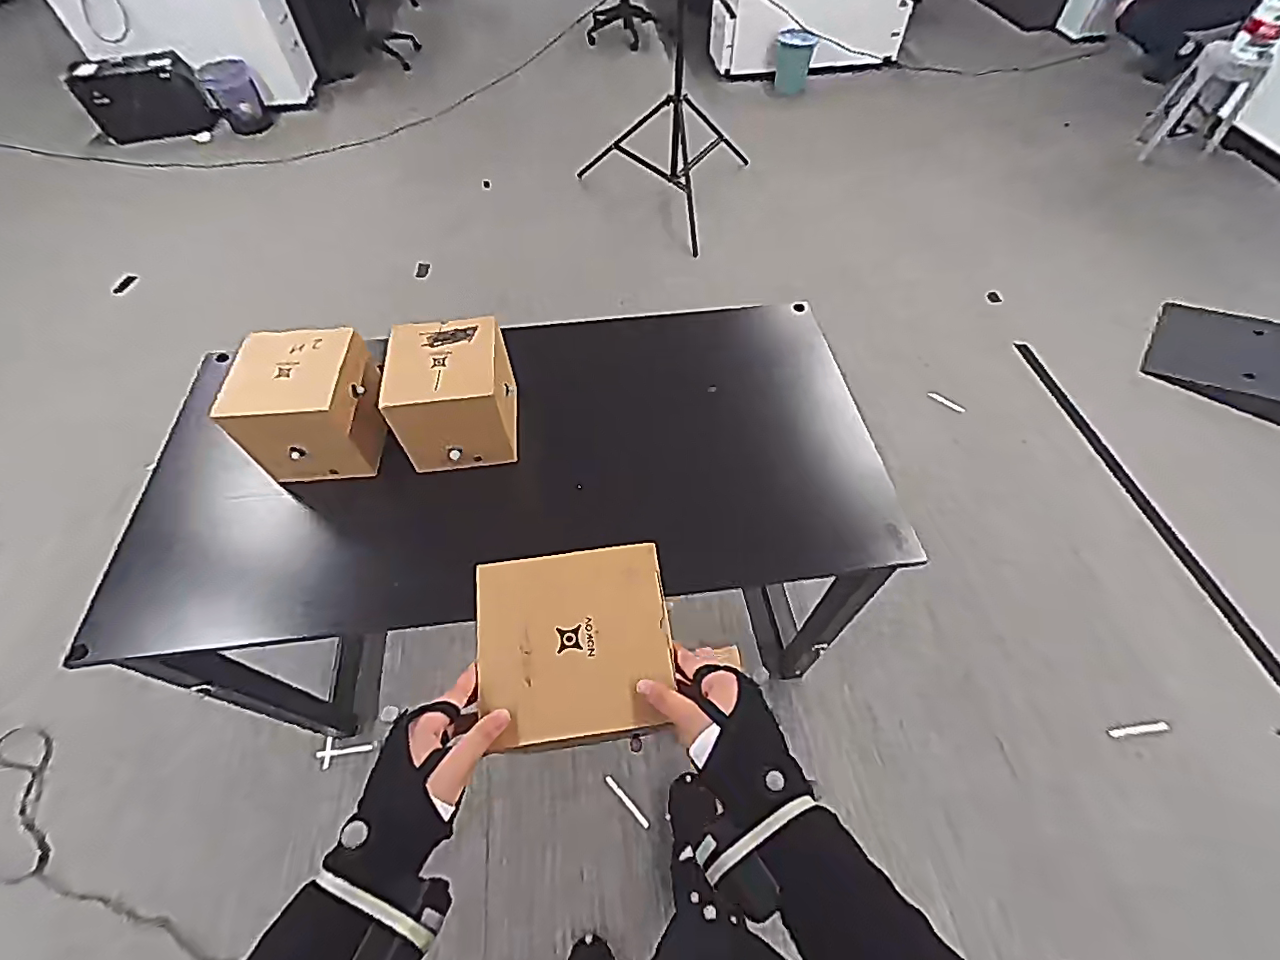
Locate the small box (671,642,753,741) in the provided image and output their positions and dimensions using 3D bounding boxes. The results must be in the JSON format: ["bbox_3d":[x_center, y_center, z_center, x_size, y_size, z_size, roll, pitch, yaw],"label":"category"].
[{"bbox_3d":[0.163,0.516,1.313,0.168,0.176,0.179,-8,56,-3],"label":"small box"}]

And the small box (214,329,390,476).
[{"bbox_3d":[-0.524,-0.117,0.873,0.168,0.176,0.179,-4,56,-3],"label":"small box"}]

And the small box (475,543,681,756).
[{"bbox_3d":[-0.061,0.181,0.560,0.179,0.176,0.168,-9,61,-3],"label":"small box"}]

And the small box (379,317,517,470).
[{"bbox_3d":[-0.301,-0.138,0.884,0.168,0.176,0.179,-7,57,-4],"label":"small box"}]
